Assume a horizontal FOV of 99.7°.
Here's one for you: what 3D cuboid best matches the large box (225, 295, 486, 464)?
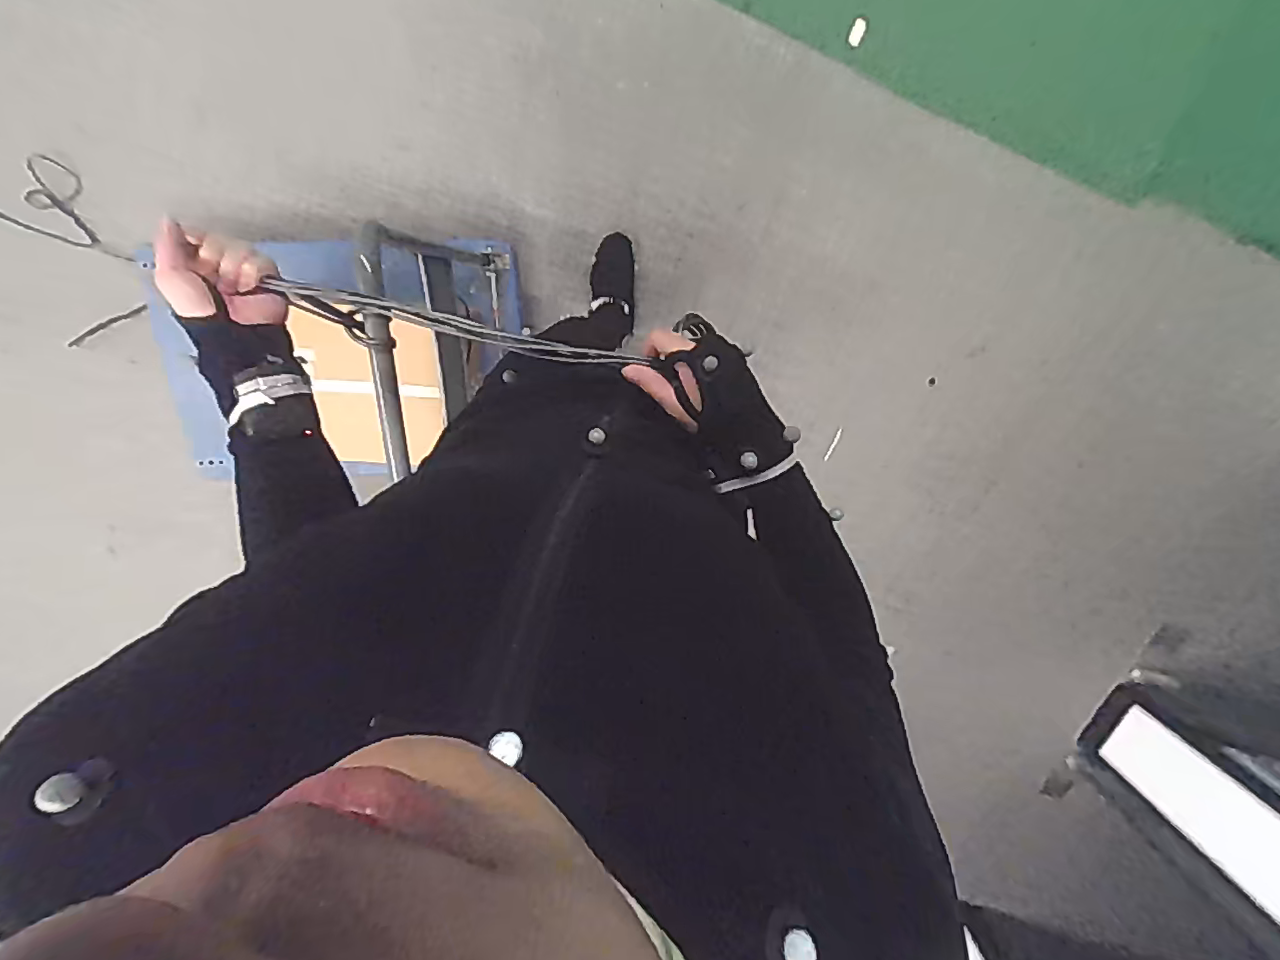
[{"bbox_3d":[-0.582,-0.235,1.195,0.408,0.320,0.320,3,109,-3],"label":"large box"}]
